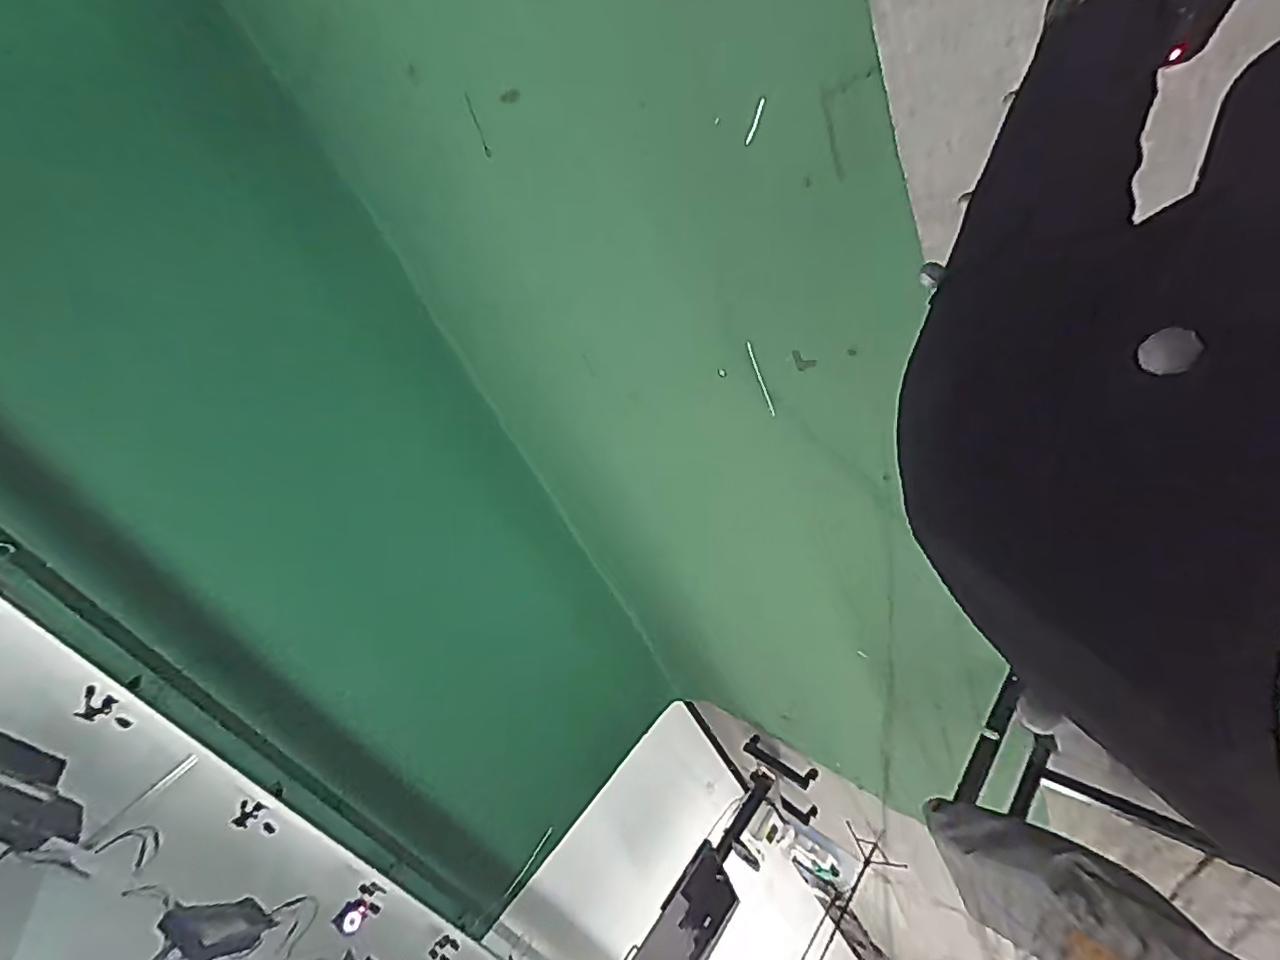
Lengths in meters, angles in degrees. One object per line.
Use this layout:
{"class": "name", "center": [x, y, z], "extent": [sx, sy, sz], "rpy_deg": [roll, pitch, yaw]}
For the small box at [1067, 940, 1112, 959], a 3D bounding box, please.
{"class": "small box", "center": [1.252, 1.402, 1.454], "extent": [0.168, 0.176, 0.179], "rpy_deg": [7, 134, 51]}
